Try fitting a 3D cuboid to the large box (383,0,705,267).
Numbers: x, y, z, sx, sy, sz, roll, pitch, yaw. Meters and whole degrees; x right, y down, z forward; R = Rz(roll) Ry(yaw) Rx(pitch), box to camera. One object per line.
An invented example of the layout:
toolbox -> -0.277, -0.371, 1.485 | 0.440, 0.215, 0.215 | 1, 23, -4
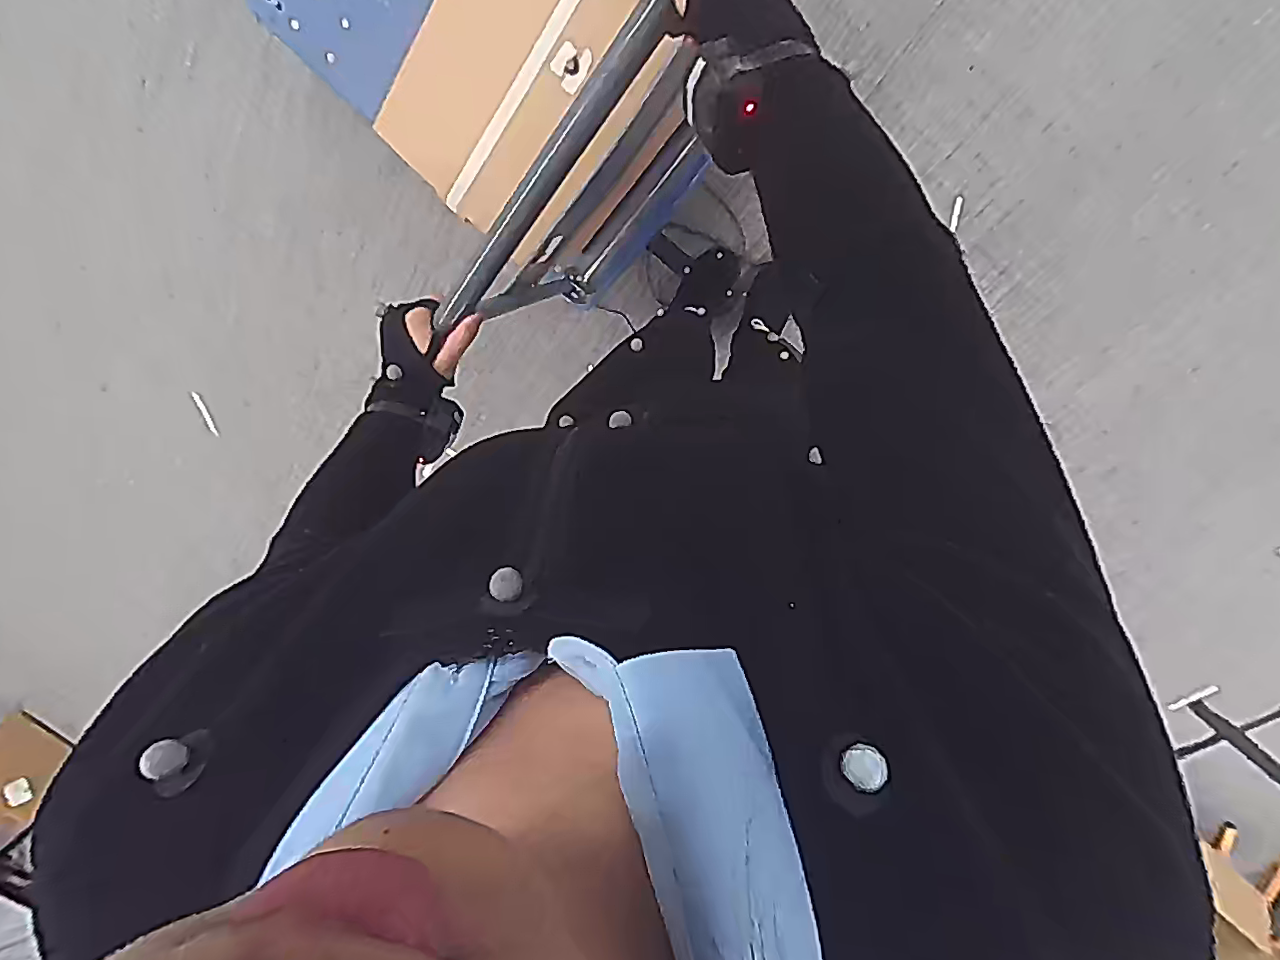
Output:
large box -> -0.141, -0.635, 0.917 | 0.320, 0.320, 0.408 | 41, 116, -11
